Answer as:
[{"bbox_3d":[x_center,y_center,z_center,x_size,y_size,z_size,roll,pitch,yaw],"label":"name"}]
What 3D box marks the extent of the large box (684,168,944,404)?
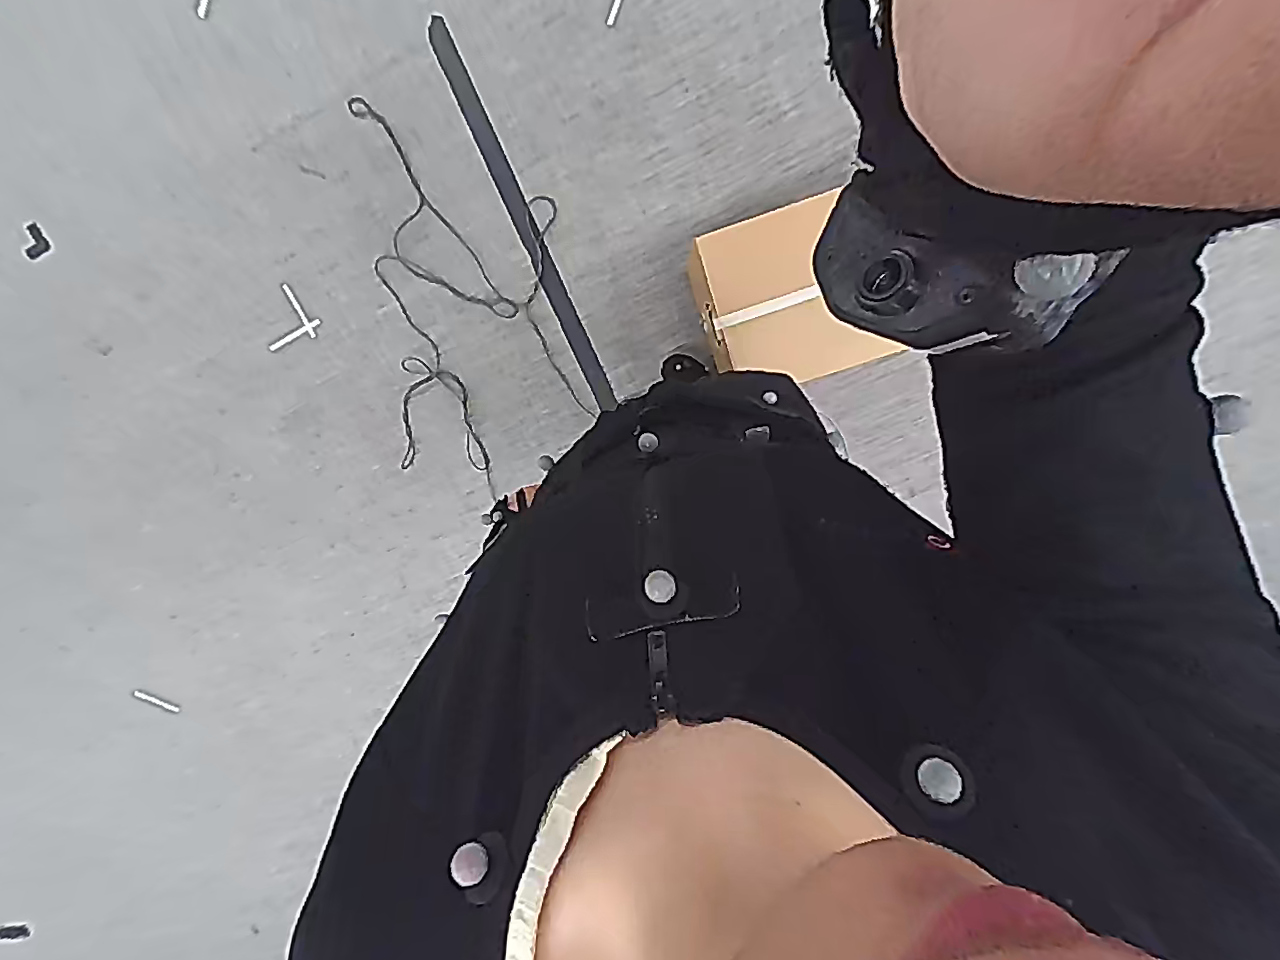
[{"bbox_3d":[0.335,-0.375,1.142,0.408,0.320,0.320,-18,101,5],"label":"large box"}]
